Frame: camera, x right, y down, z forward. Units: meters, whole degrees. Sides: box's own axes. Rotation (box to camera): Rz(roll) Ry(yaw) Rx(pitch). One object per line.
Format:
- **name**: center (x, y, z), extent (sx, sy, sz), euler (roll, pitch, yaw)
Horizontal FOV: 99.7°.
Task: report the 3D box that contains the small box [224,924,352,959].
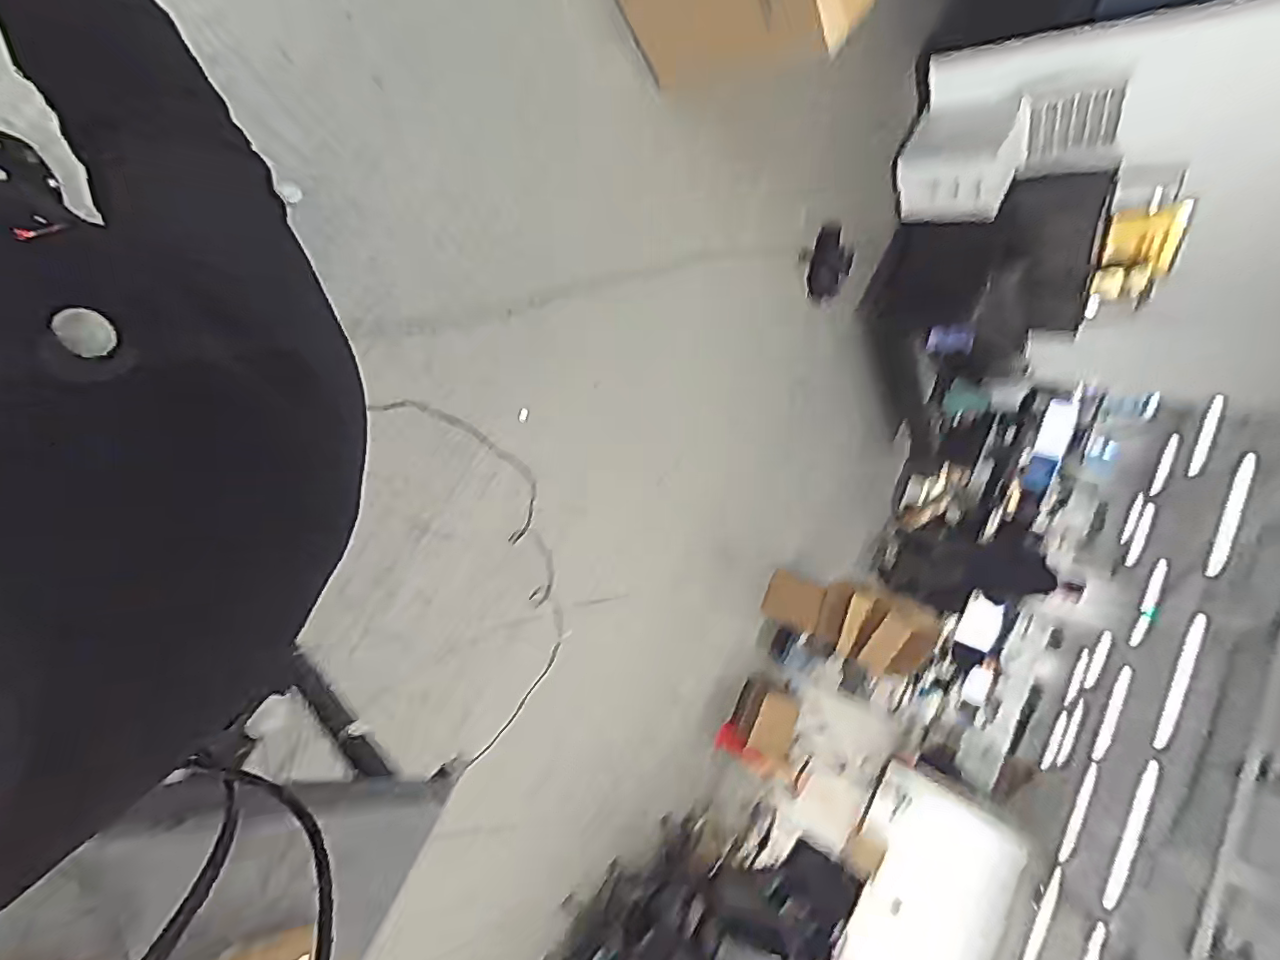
- **small box**: center (-0.555, 0.824, 0.817), extent (0.168, 0.176, 0.179), euler (36, 78, -50)
